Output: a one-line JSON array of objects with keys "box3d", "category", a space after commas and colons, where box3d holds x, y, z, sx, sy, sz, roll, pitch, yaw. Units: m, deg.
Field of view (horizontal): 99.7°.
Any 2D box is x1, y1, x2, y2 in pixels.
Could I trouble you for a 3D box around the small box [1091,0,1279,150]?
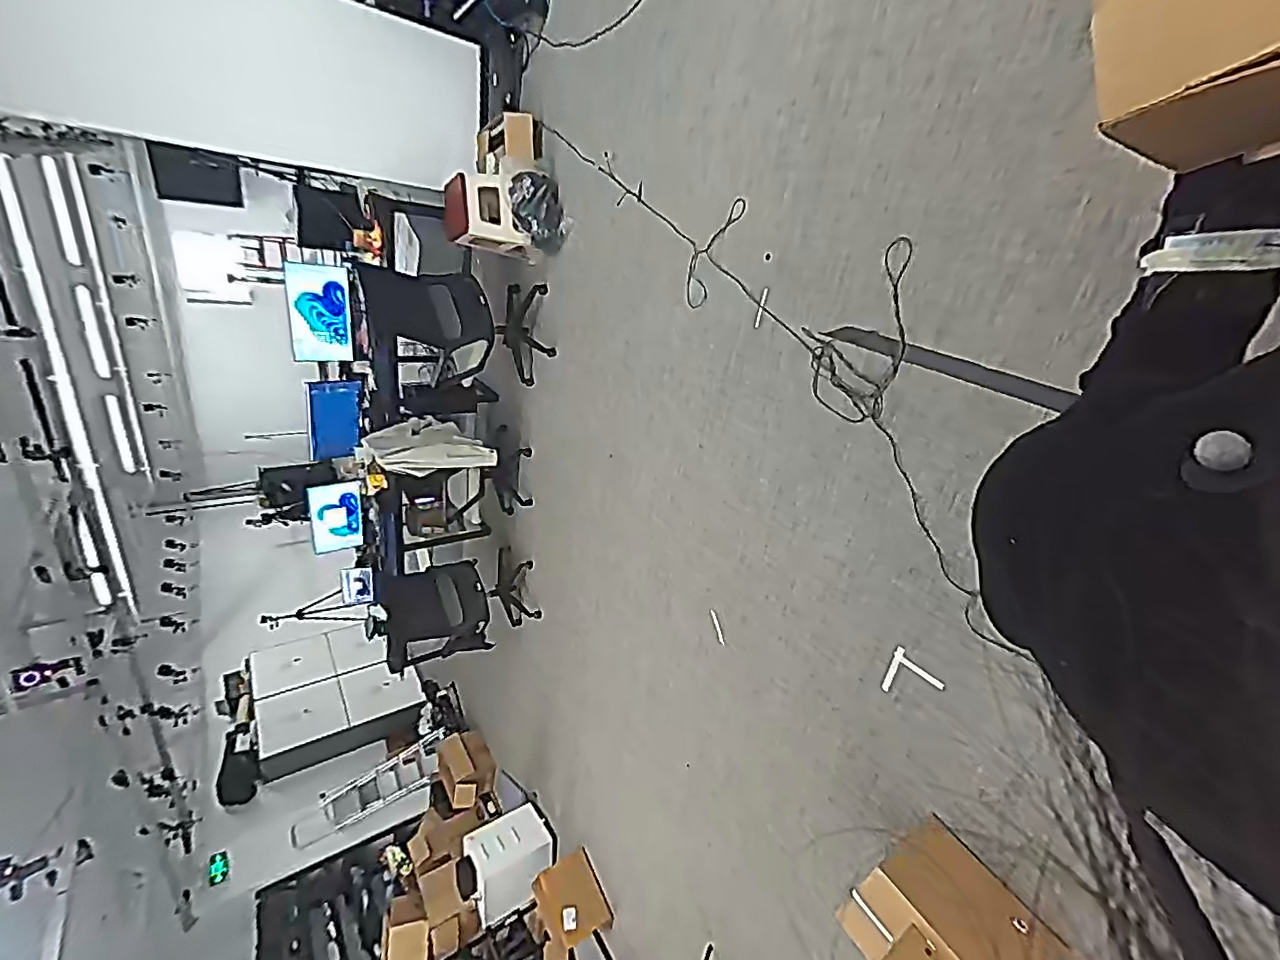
[{"box3d": [0.320, -0.269, 0.231, 0.168, 0.176, 0.179, 0, 101, 54], "category": "small box"}]
